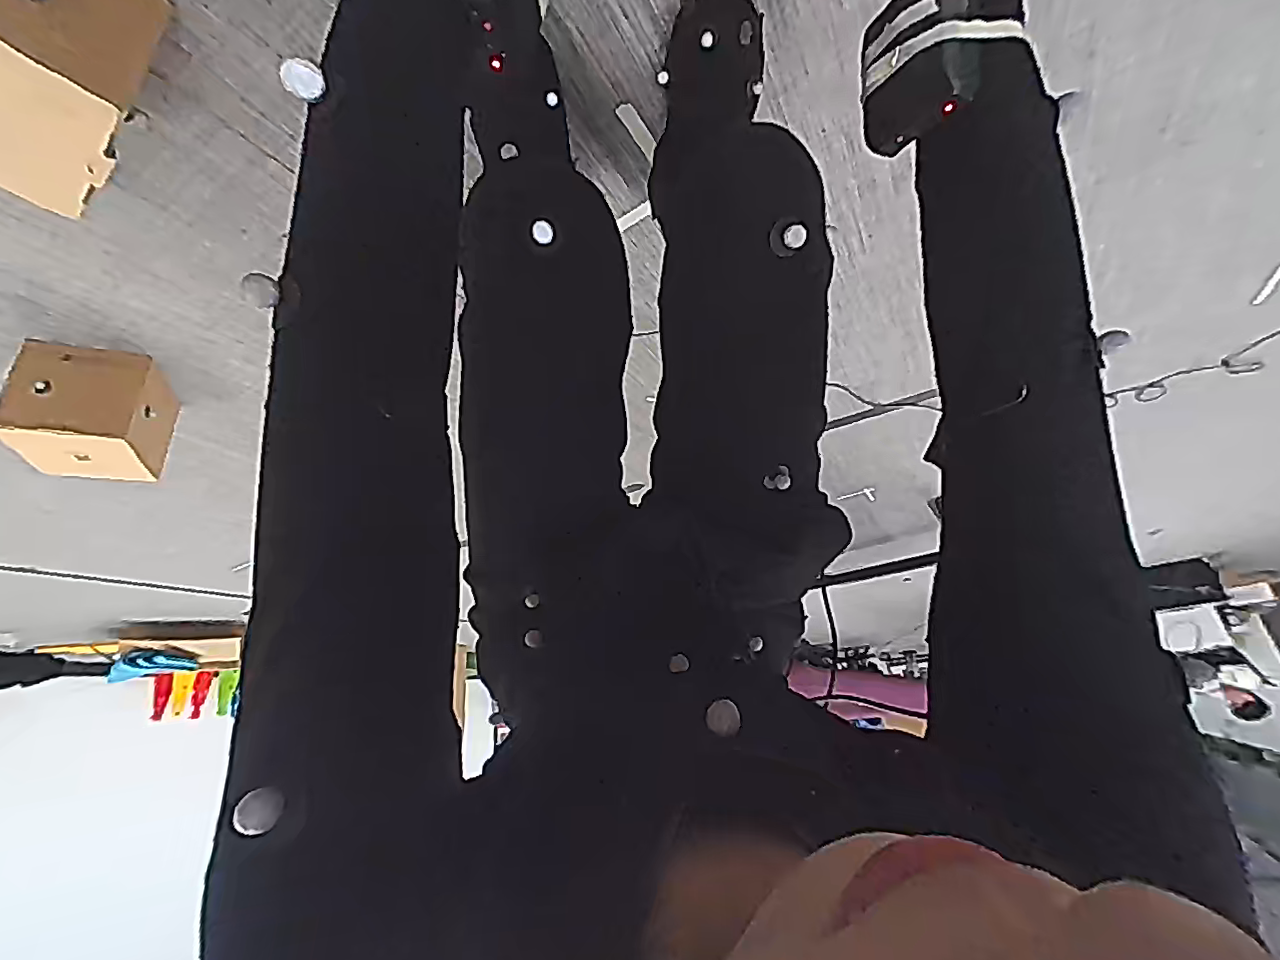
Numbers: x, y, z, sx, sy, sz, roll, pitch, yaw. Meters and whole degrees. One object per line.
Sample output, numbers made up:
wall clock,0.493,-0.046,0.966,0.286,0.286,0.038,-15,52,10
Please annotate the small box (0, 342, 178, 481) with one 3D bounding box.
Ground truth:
small box,-0.947,-0.114,0.938,0.168,0.176,0.179,6,154,-23

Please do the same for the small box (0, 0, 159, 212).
small box,-0.546,-0.379,0.449,0.168,0.176,0.179,-23,152,31
